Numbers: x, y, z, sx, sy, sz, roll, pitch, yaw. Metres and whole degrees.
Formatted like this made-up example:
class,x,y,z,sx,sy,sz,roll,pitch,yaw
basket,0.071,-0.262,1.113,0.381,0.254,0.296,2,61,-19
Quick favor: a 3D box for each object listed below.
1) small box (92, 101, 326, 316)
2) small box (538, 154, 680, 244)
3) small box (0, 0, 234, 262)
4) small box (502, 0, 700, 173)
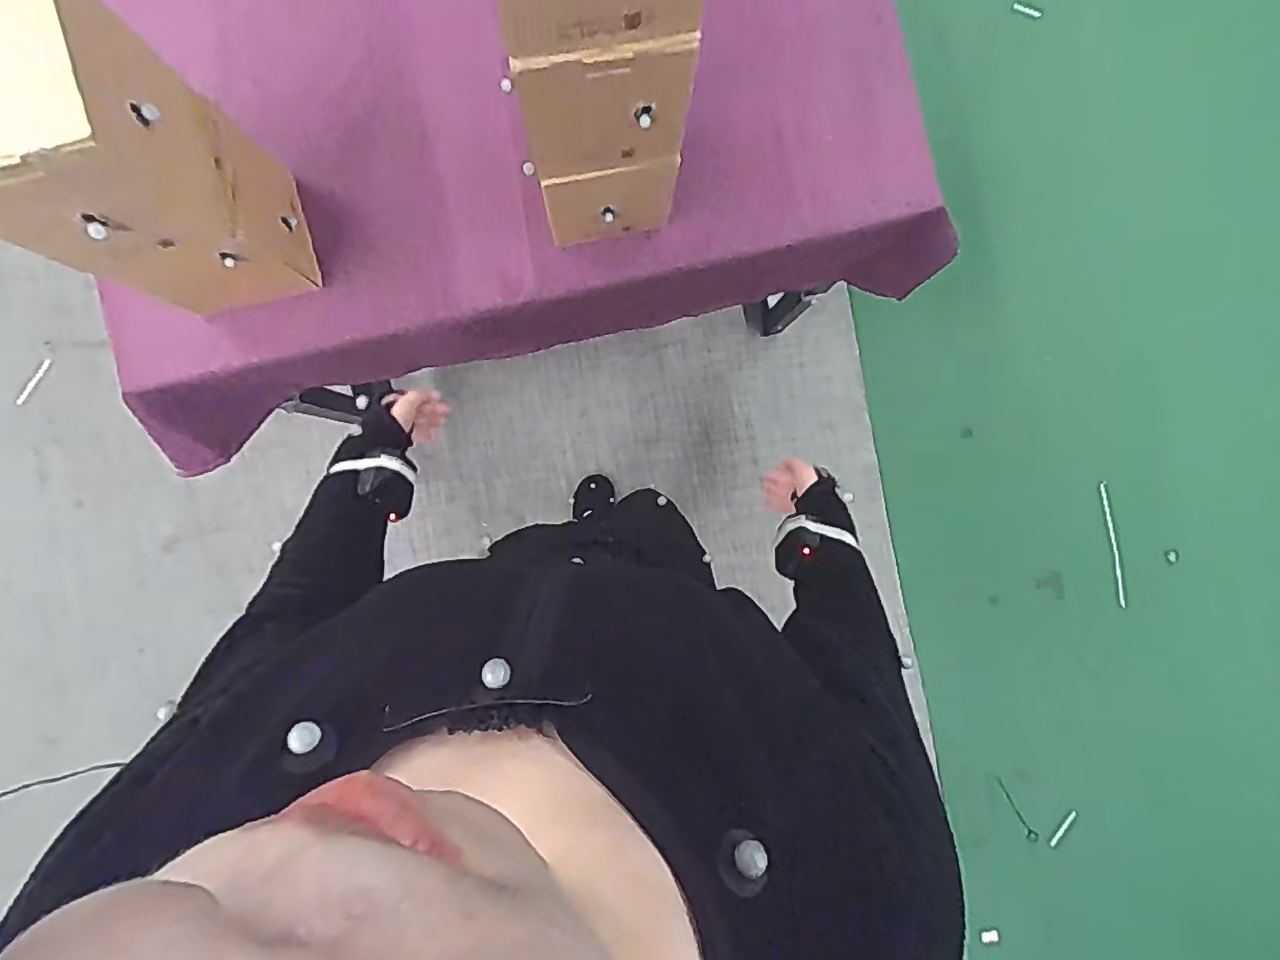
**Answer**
class,x,y,z,sx,sy,sz,roll,pitch,yaw
small box,-0.541,-0.325,0.683,0.179,0.176,0.168,-15,89,-4
small box,-0.049,-0.429,0.705,0.168,0.176,0.179,-12,89,-3
small box,-0.538,-0.330,0.518,0.168,0.176,0.179,-15,90,-4
small box,-0.043,-0.436,0.542,0.168,0.176,0.179,-10,89,-3
